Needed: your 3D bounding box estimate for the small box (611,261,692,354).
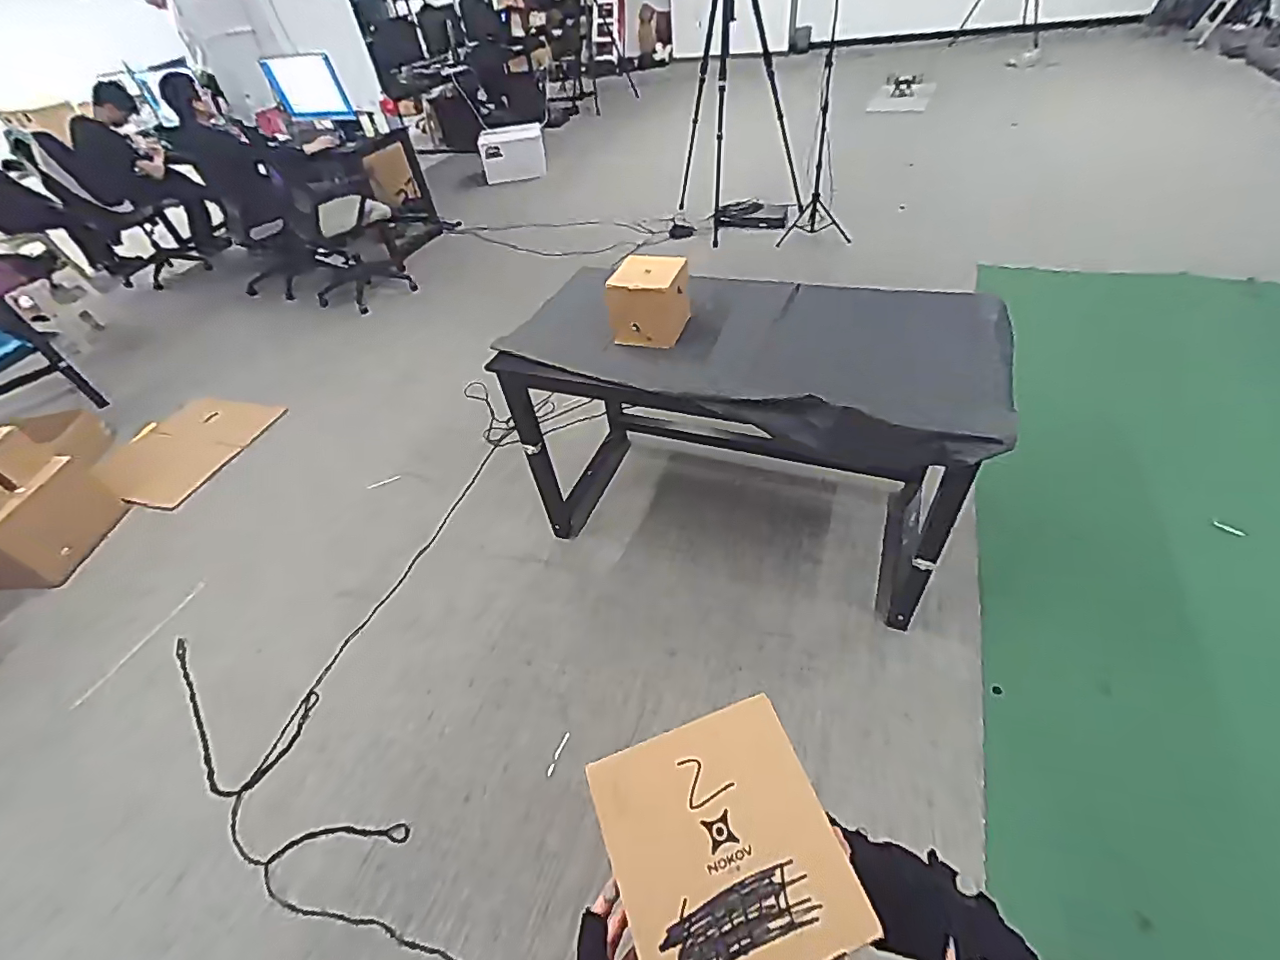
[{"bbox_3d":[0.036,-0.461,1.438,0.168,0.176,0.179,11,48,18],"label":"small box"}]
